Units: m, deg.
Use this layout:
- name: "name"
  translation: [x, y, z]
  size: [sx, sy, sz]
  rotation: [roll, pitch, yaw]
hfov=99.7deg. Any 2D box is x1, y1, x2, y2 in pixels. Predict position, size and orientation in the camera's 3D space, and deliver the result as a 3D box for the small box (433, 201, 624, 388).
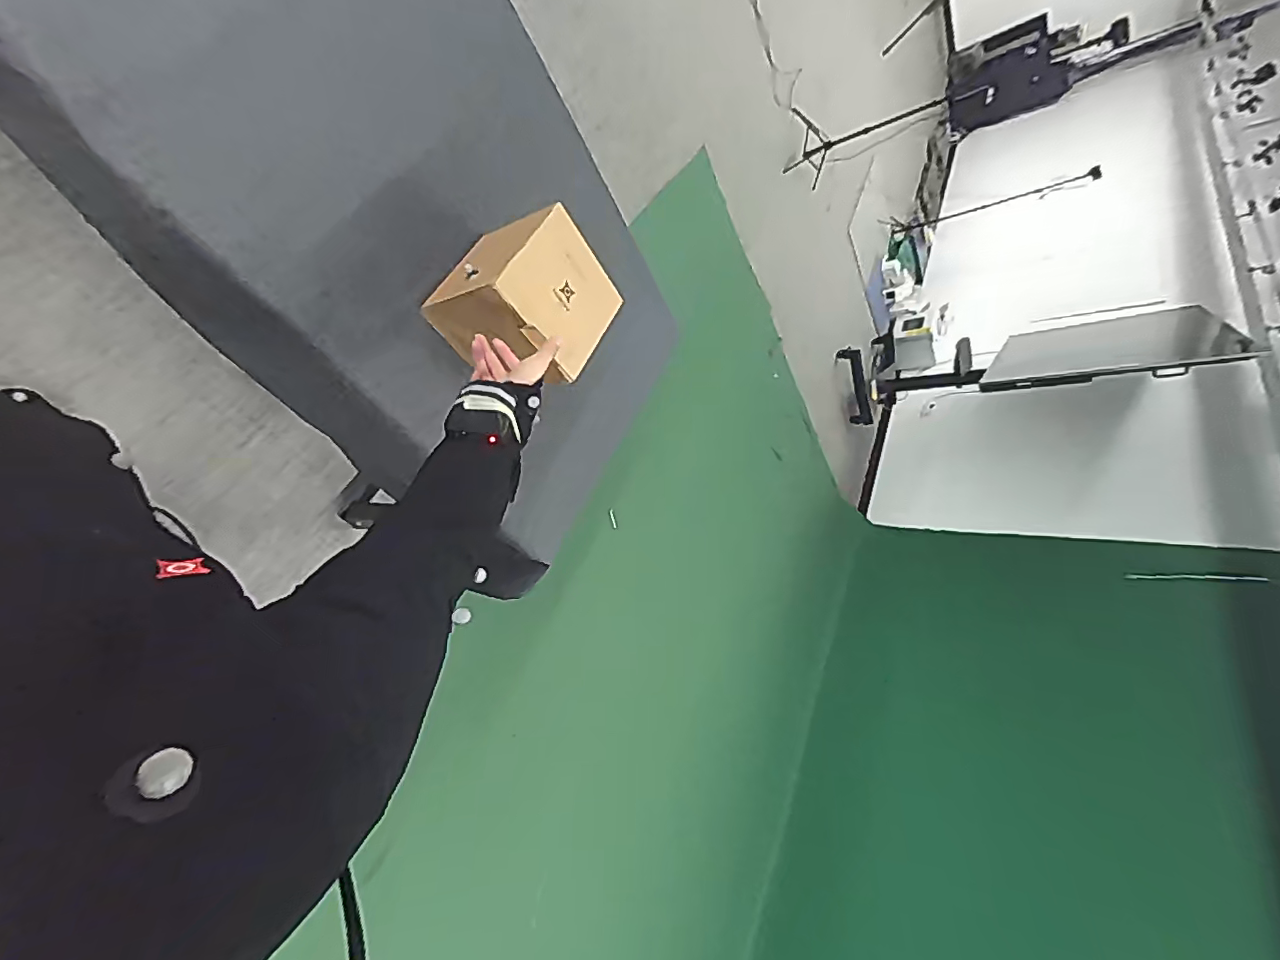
- name: "small box"
  translation: [-0.158, -0.248, 0.761]
  size: [0.168, 0.176, 0.179]
  rotation: [51, 52, -40]
